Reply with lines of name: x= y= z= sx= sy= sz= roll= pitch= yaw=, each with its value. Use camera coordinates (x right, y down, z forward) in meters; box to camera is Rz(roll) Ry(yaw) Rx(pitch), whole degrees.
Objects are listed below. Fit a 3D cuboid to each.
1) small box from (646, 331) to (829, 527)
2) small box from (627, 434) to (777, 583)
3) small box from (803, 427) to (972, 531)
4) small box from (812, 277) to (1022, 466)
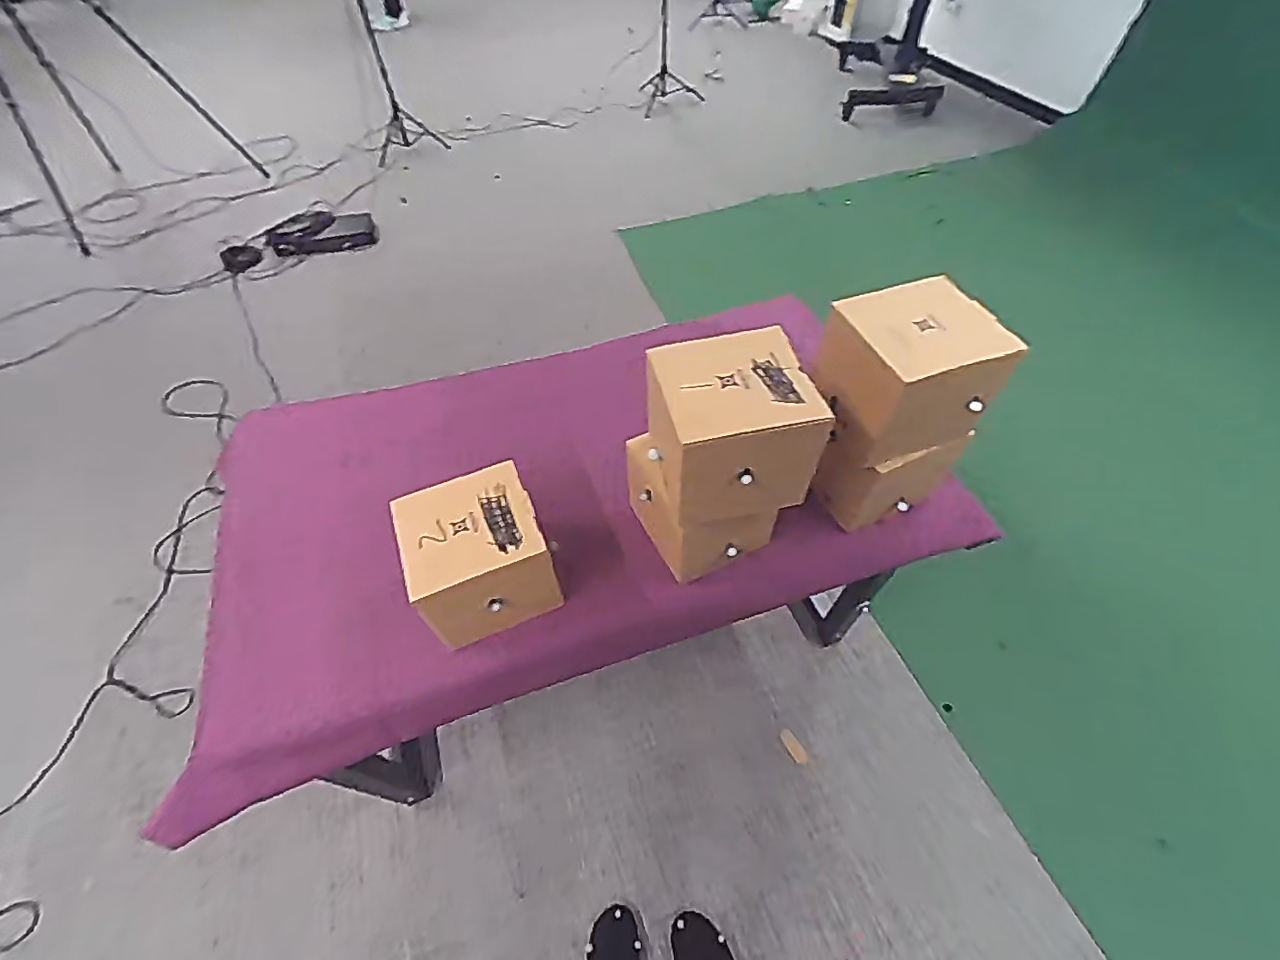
small box: x=0.109 y=-0.061 z=0.690 sx=0.179 sy=0.176 sz=0.168 roll=-11 pitch=53 yaw=-6
small box: x=0.091 y=0.025 z=0.831 sx=0.168 sy=0.176 sz=0.179 roll=-23 pitch=55 yaw=-14
small box: x=0.377 y=-0.046 z=0.875 sx=0.179 sy=0.176 sz=0.168 roll=-21 pitch=55 yaw=-13
small box: x=0.359 y=-0.146 z=0.746 sx=0.179 sy=0.176 sz=0.168 roll=-16 pitch=55 yaw=-9
